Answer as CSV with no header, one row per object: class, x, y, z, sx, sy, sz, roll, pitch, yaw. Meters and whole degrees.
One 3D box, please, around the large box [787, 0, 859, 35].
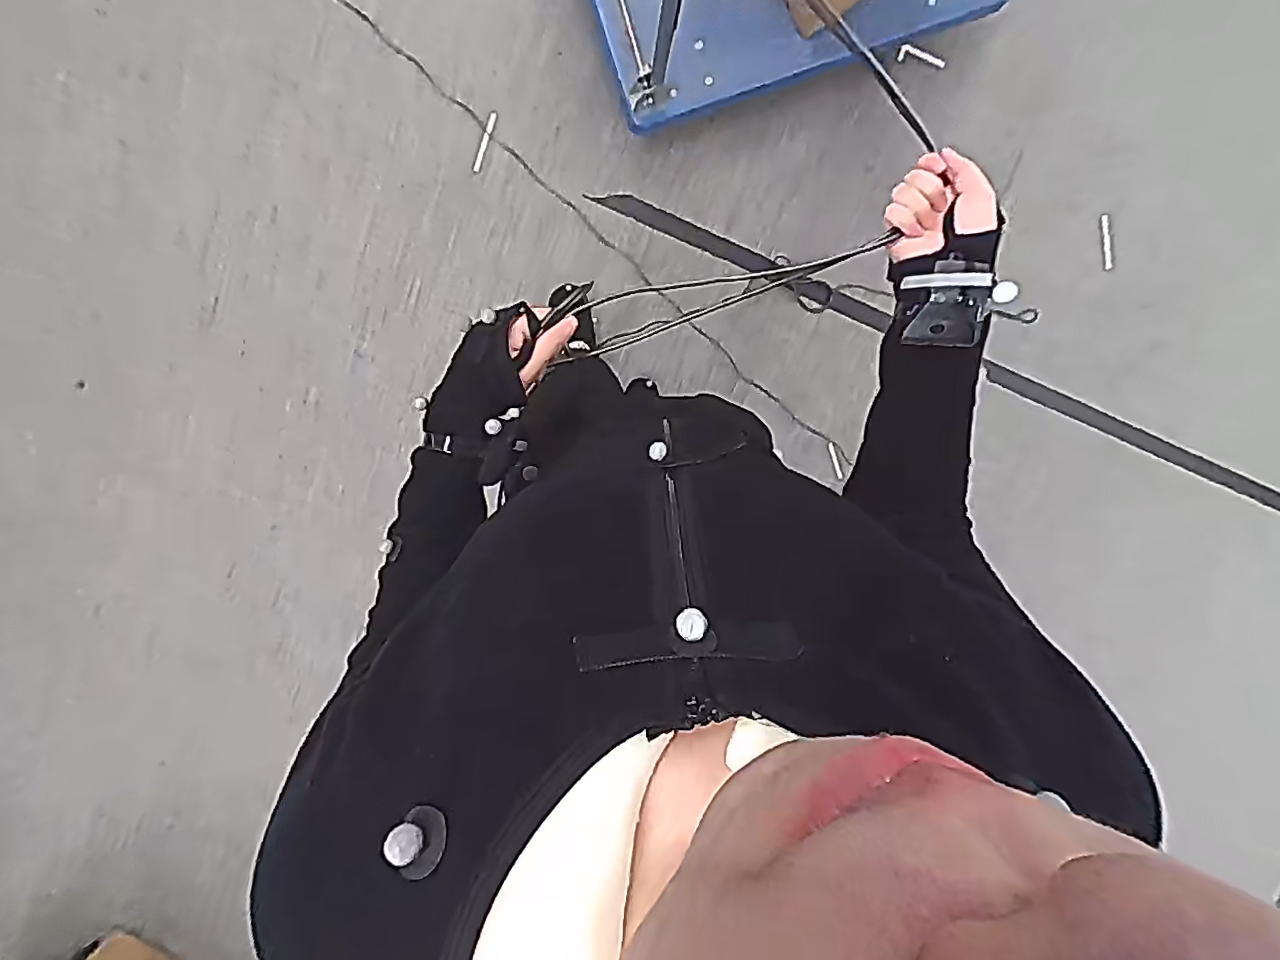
large box,0.375,-1.143,0.946,0.320,0.320,0.408,-33,102,5
